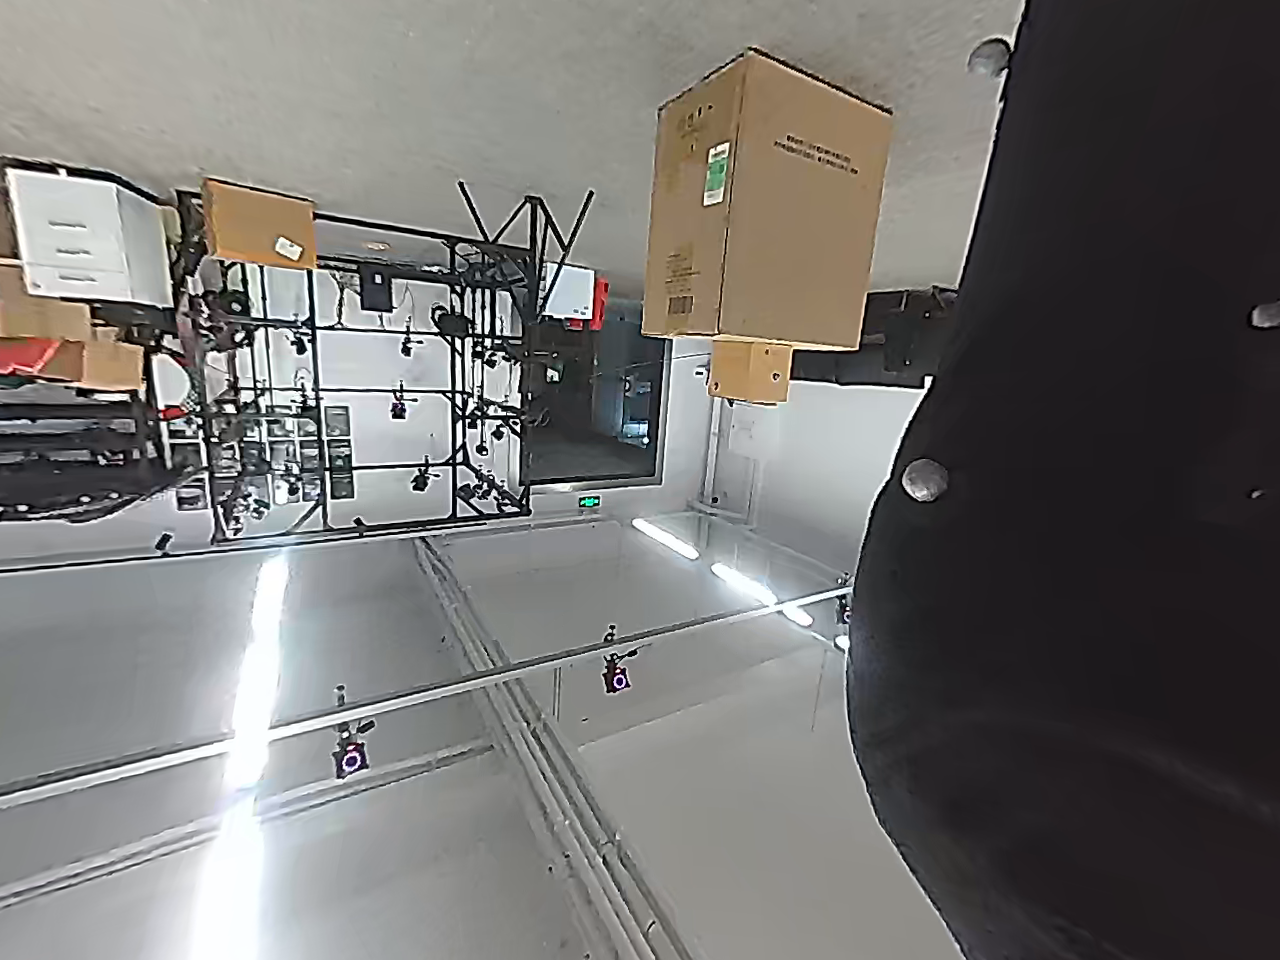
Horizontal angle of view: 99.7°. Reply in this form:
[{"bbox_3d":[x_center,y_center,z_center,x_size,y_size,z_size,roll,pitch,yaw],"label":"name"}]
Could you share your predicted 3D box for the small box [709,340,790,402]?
[{"bbox_3d":[0.324,-0.325,1.594,0.168,0.176,0.179,-5,-164,-32],"label":"small box"}]
